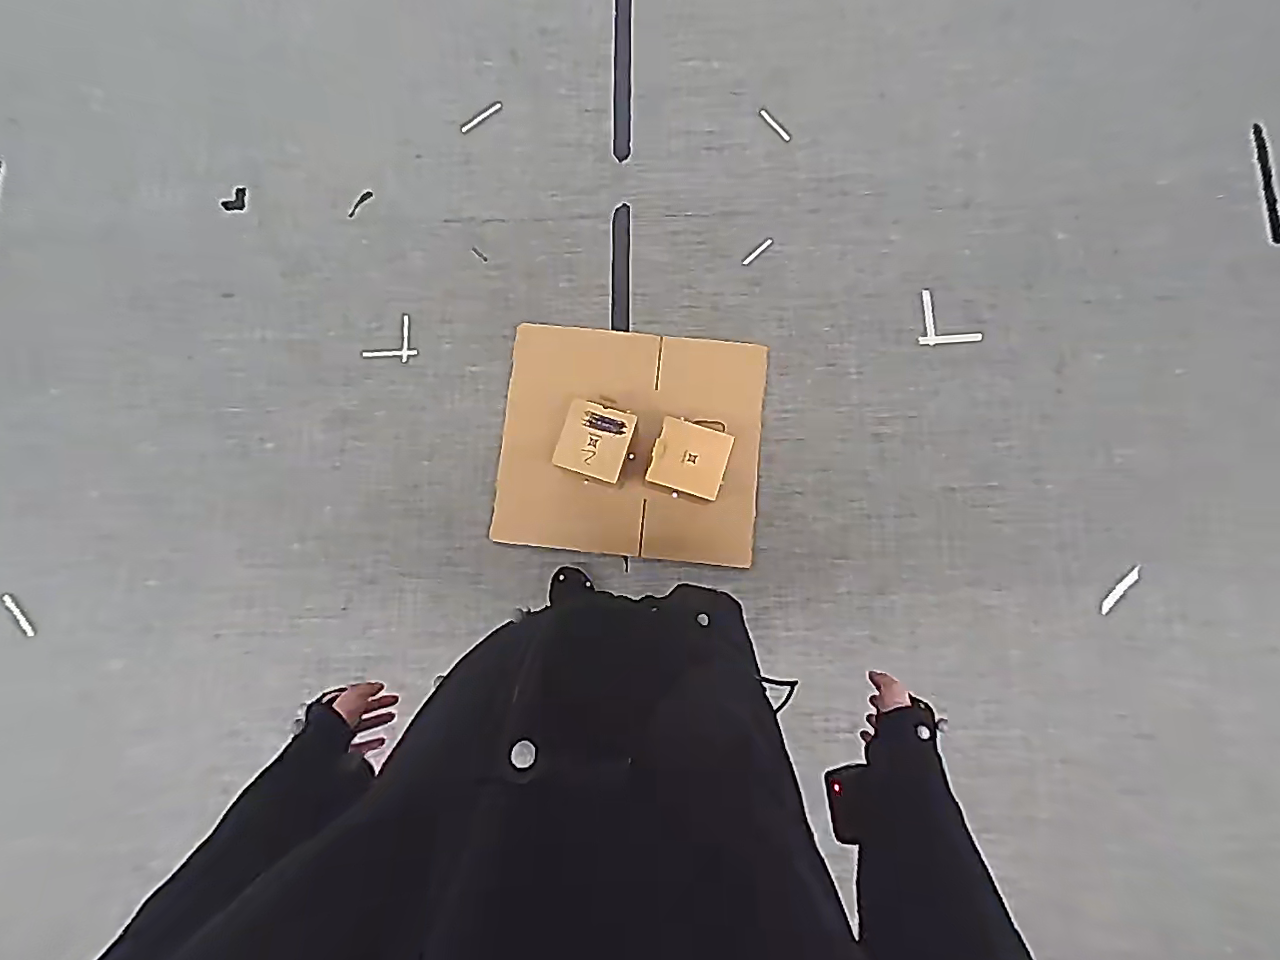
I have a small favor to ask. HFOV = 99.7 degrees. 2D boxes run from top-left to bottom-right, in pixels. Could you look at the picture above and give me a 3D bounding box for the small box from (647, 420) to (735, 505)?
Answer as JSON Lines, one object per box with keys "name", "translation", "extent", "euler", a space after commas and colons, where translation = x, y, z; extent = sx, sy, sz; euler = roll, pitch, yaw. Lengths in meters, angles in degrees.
{"name": "small box", "translation": [0.127, -0.038, 1.379], "extent": [0.179, 0.176, 0.168], "euler": [17, 84, 4]}
